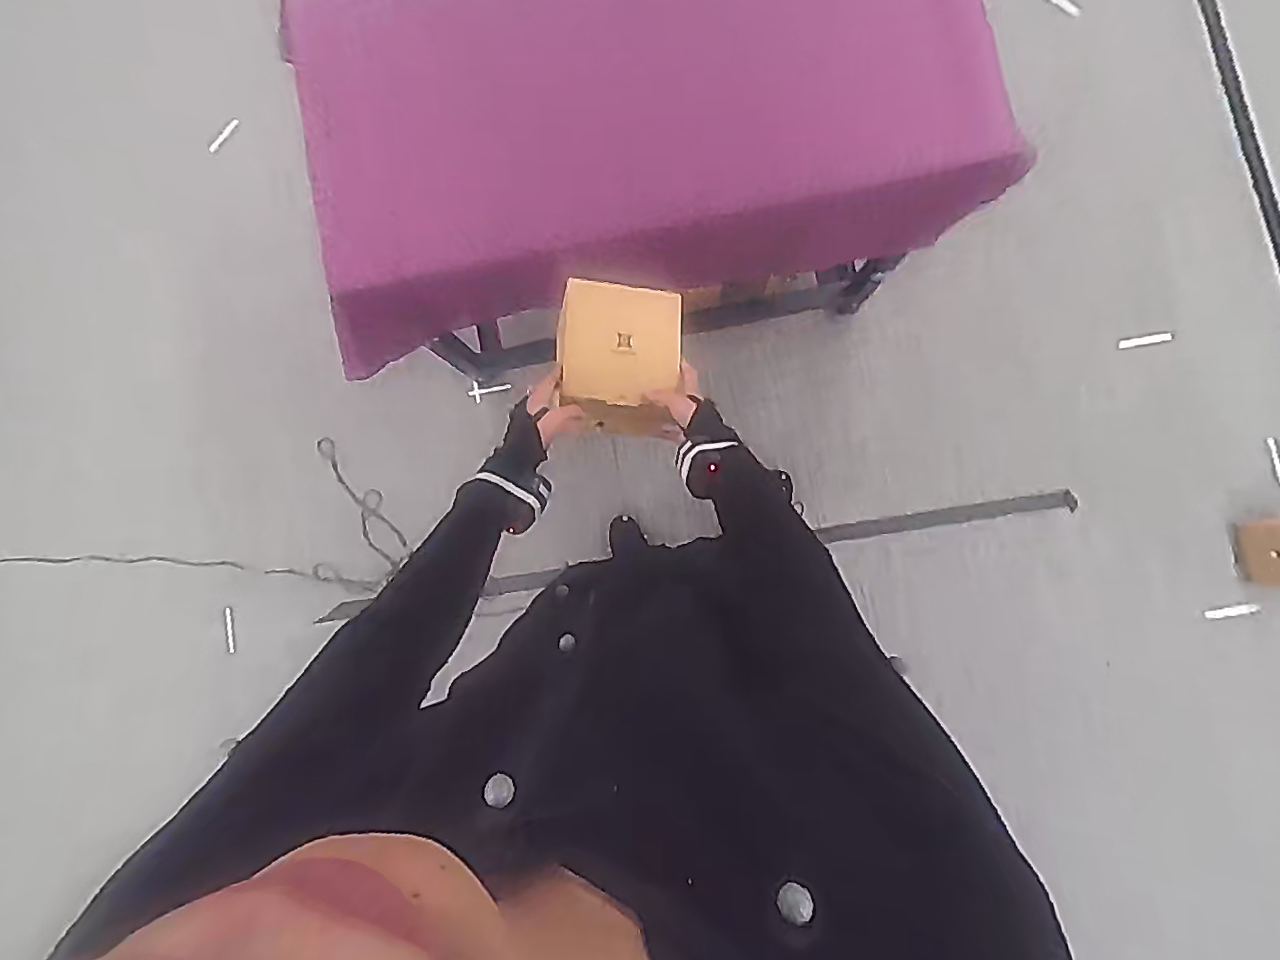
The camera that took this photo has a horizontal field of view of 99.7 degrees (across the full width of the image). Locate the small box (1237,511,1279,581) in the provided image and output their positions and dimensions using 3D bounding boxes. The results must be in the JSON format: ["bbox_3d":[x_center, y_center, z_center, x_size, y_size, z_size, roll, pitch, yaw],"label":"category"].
[{"bbox_3d":[1.774,0.175,1.440,0.168,0.176,0.179,-12,85,3],"label":"small box"}]

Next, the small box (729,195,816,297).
[{"bbox_3d":[0.376,-0.672,1.576,0.168,0.176,0.179,-39,85,1],"label":"small box"}]

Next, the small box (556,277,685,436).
[{"bbox_3d":[-0.036,-0.178,0.826,0.168,0.176,0.179,4,80,-12],"label":"small box"}]
